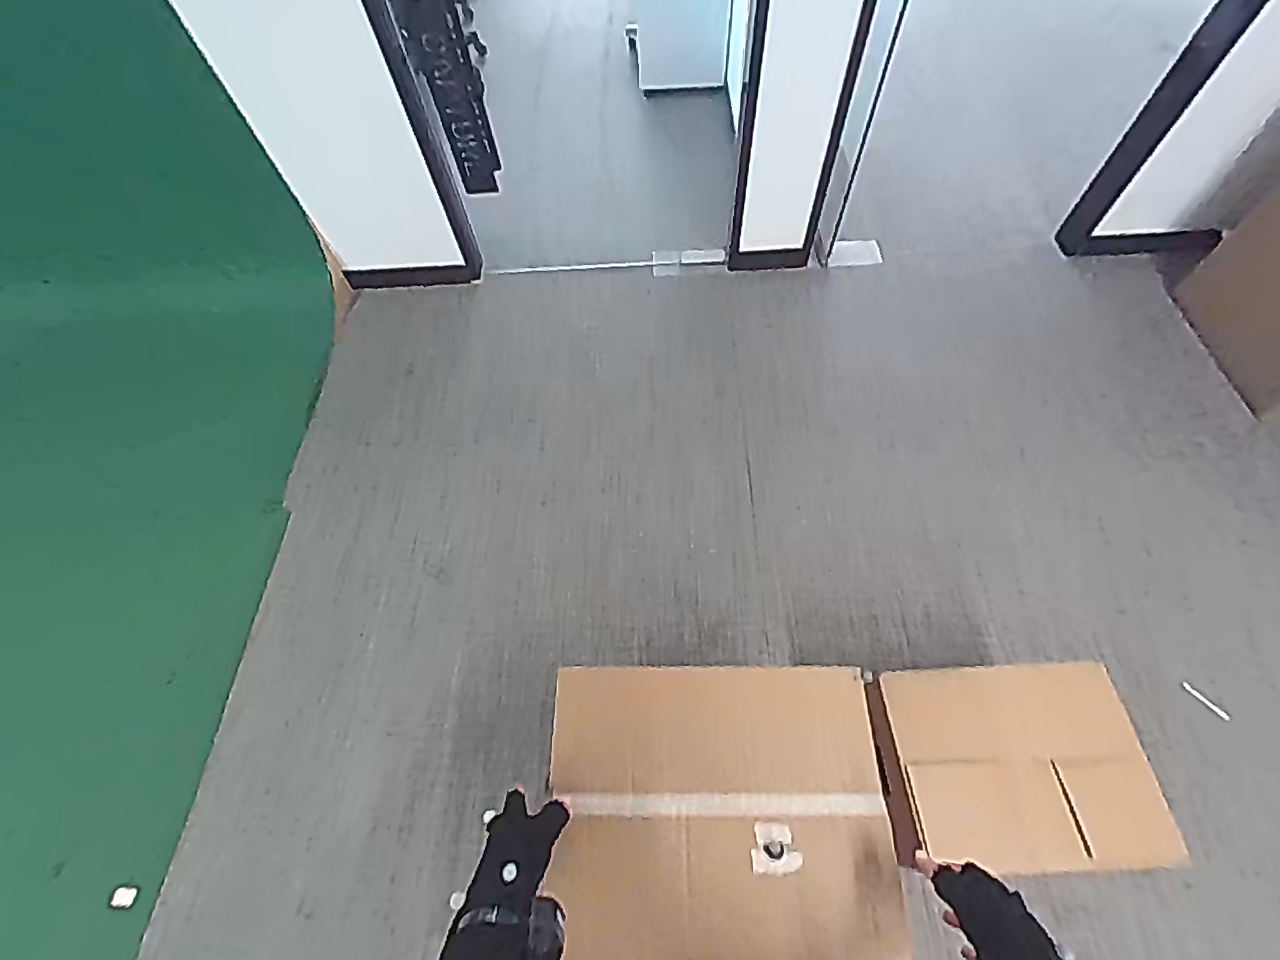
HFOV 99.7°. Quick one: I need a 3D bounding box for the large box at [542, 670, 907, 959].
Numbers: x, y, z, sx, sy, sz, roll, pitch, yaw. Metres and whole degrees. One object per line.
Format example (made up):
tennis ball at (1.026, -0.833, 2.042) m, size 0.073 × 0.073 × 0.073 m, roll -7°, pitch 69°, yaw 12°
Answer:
large box at (0.091, 0.466, 0.782) m, size 0.408 × 0.320 × 0.320 m, roll 0°, pitch 61°, yaw 1°
